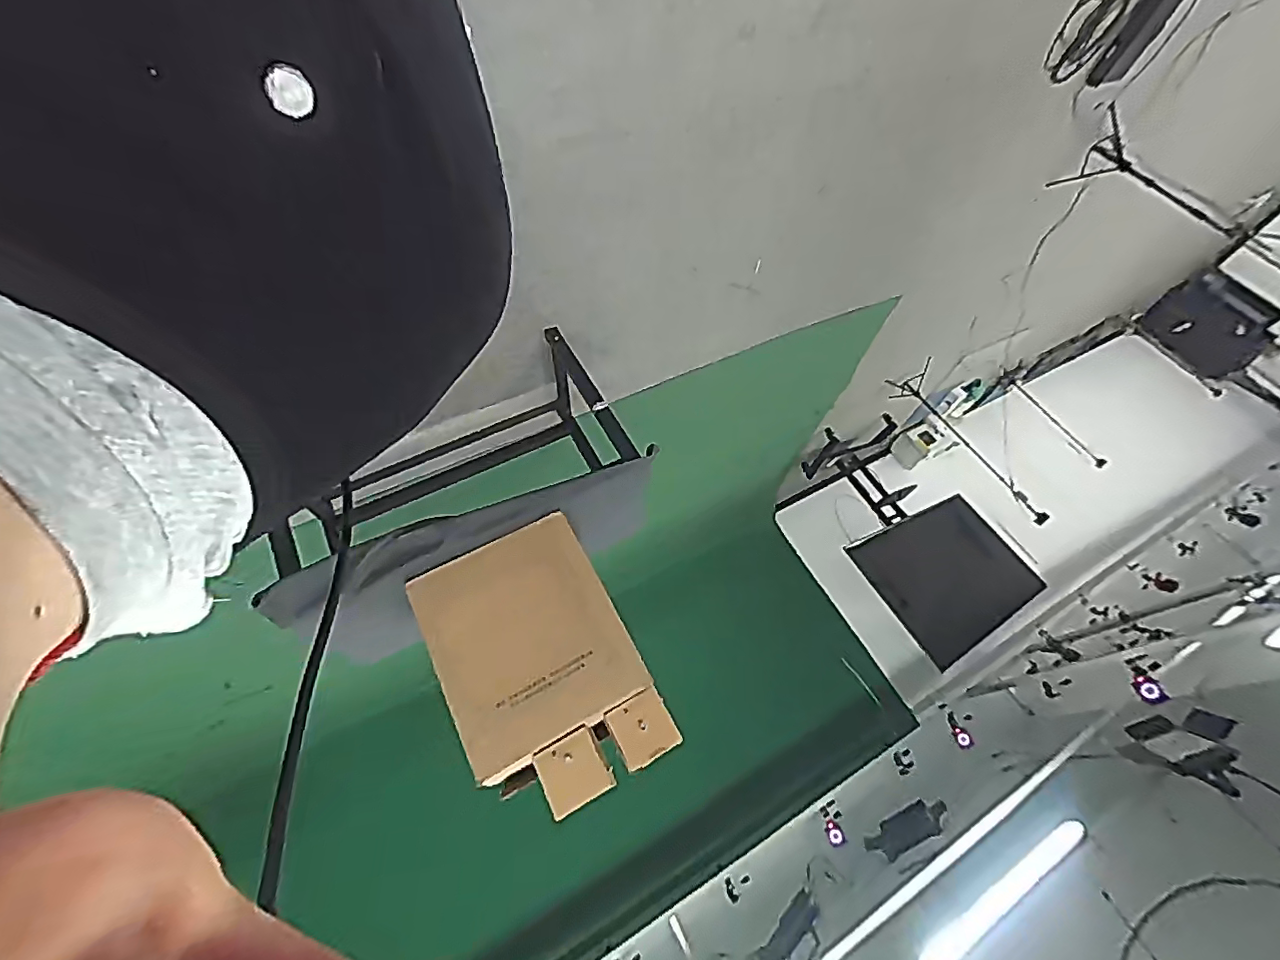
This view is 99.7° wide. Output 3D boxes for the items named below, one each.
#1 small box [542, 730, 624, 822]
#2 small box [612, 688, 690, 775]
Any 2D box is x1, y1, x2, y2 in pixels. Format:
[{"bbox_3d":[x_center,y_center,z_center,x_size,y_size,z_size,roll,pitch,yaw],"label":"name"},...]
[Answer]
[{"bbox_3d":[-0.158,0.824,1.517,0.168,0.176,0.179,-28,154,-12],"label":"small box"},{"bbox_3d":[0.026,0.735,1.585,0.168,0.176,0.179,-27,155,-17],"label":"small box"}]
